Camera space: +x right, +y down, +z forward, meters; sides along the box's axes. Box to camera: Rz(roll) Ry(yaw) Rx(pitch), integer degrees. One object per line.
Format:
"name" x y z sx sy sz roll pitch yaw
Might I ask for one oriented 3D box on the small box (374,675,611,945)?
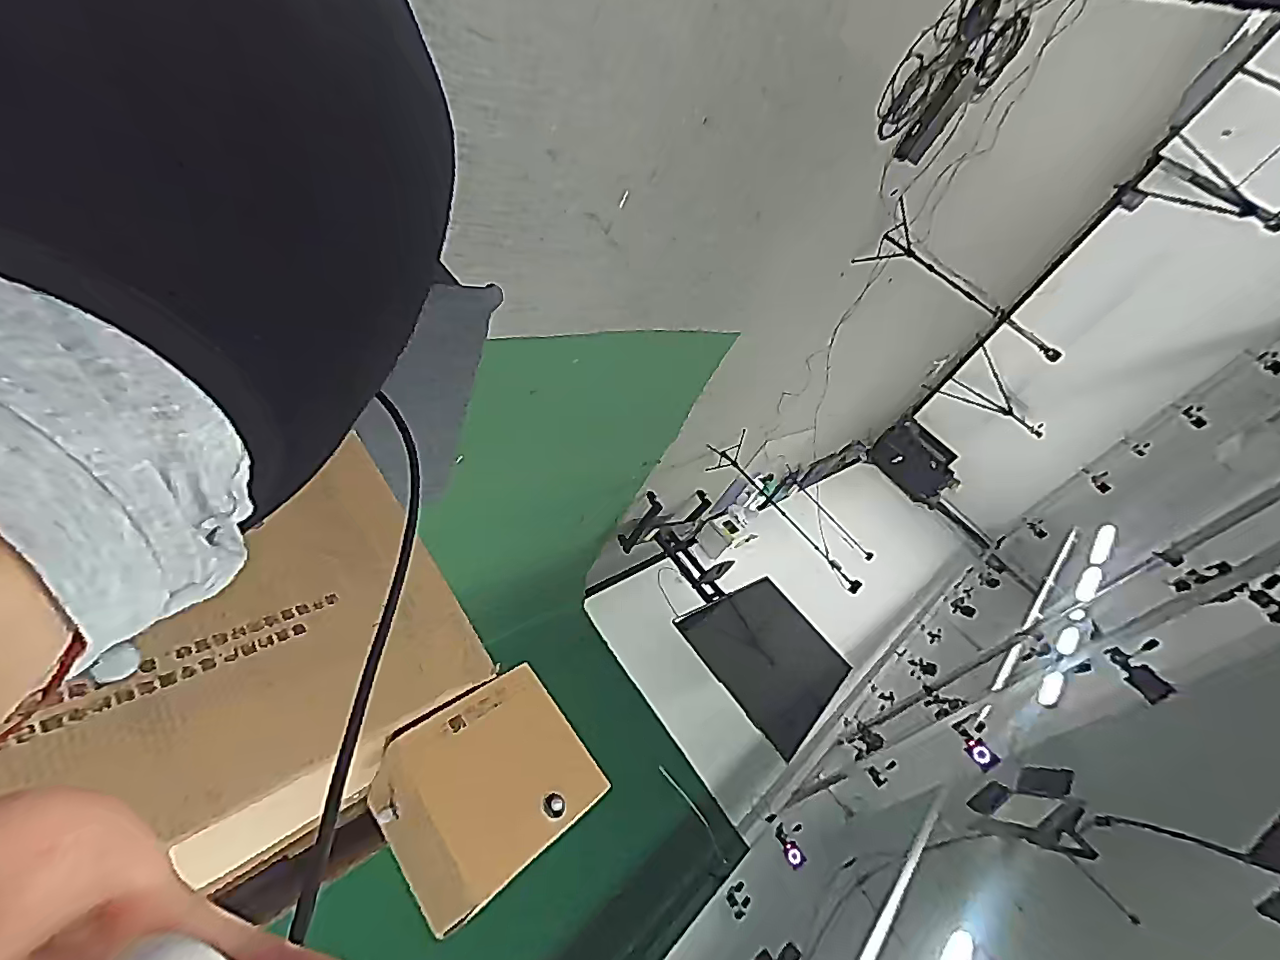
"small box" -0.169 0.351 0.596 0.168 0.176 0.179 -21 151 -47
